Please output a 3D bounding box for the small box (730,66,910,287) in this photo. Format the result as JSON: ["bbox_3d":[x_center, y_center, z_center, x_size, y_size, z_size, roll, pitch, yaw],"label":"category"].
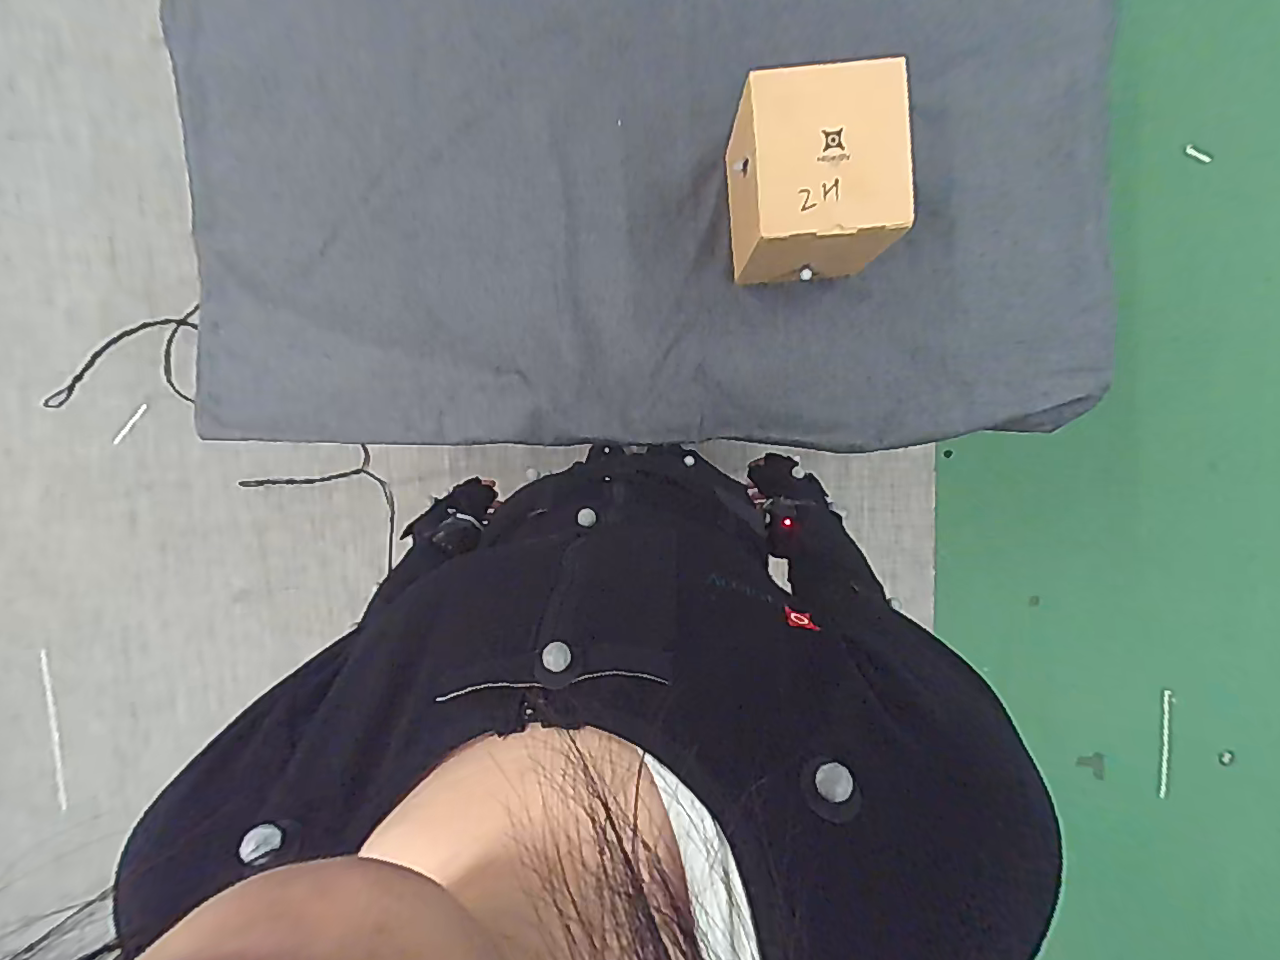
[{"bbox_3d":[0.206,-0.354,0.661,0.168,0.176,0.179,-4,93,2],"label":"small box"}]
